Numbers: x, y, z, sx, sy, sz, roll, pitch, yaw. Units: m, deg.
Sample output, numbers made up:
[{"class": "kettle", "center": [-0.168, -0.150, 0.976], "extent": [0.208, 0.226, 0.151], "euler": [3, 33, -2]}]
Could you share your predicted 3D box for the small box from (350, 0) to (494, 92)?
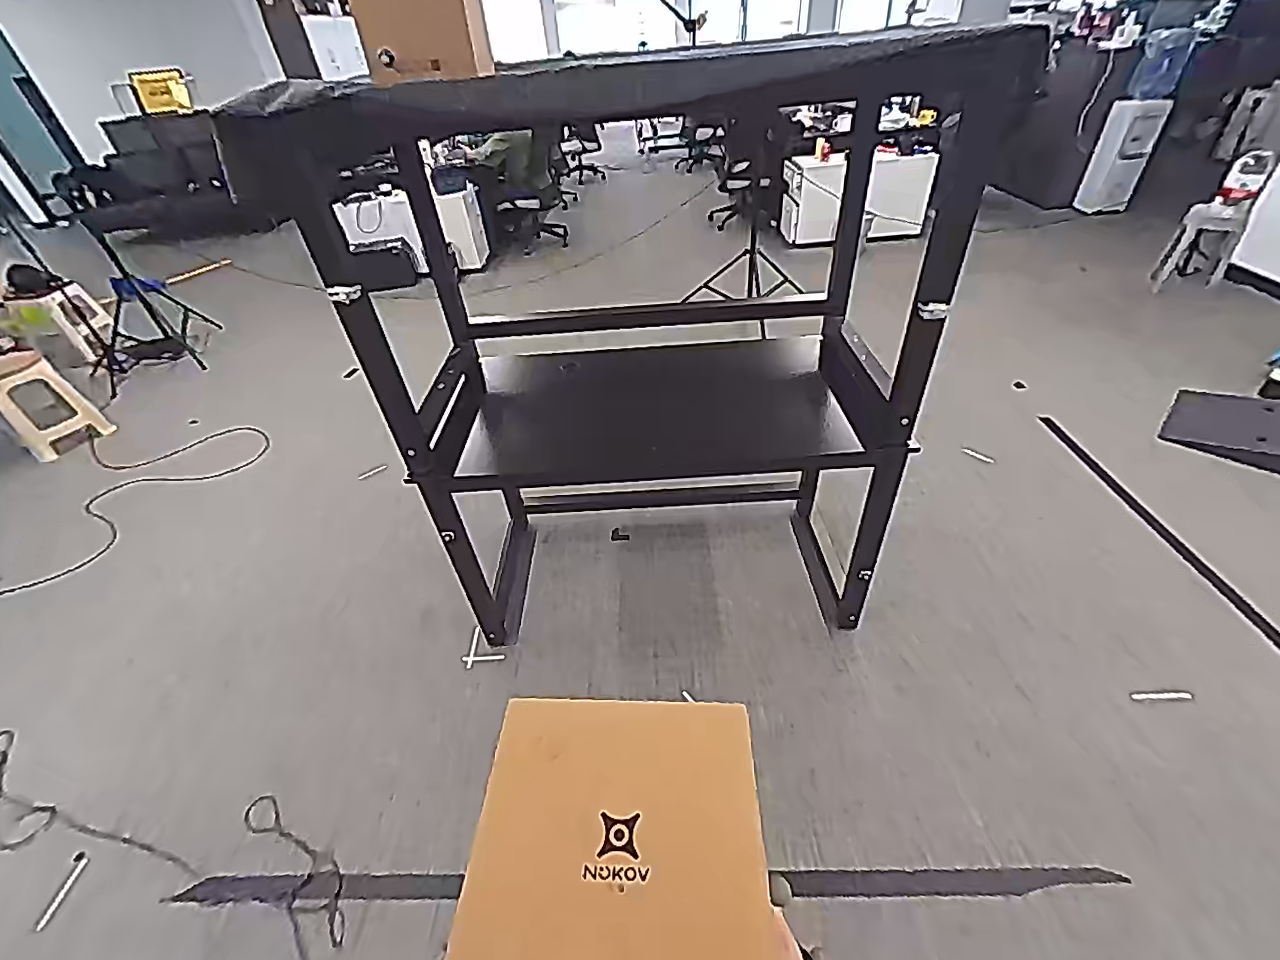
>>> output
[{"class": "small box", "center": [-0.338, -0.723, 0.853], "extent": [0.168, 0.176, 0.179], "euler": [-4, 37, -1]}]

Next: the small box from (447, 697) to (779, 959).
[{"class": "small box", "center": [-0.010, 0.269, 0.354], "extent": [0.168, 0.176, 0.179], "euler": [0, 38, 2]}]
